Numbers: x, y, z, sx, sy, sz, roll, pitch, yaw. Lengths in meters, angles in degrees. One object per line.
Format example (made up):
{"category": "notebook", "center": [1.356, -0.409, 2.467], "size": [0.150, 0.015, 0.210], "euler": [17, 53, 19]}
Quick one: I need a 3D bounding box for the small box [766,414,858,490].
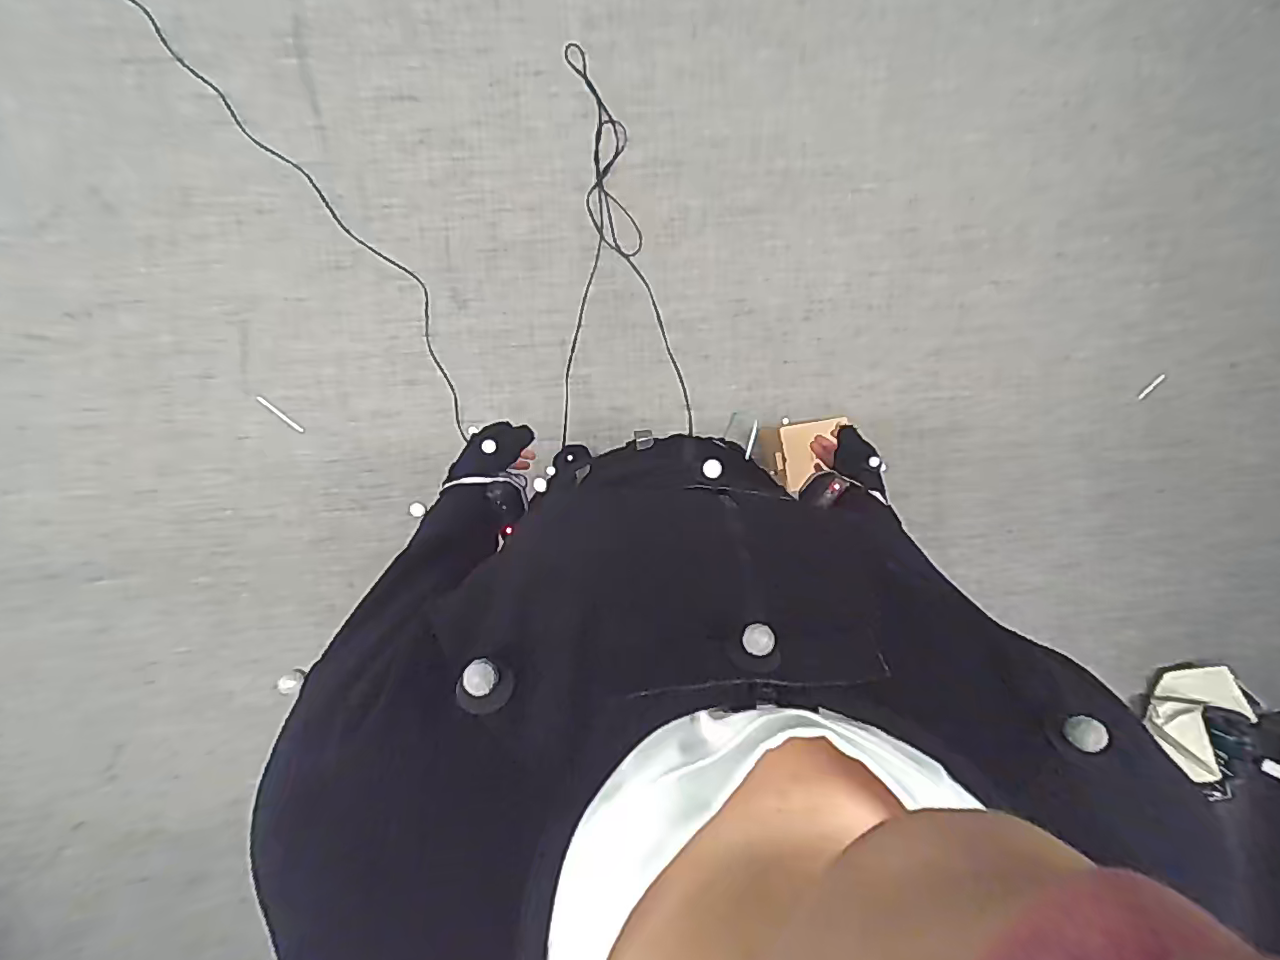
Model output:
{"category": "small box", "center": [0.436, -0.074, 1.401], "size": [0.179, 0.176, 0.168], "euler": [-10, 96, -3]}
